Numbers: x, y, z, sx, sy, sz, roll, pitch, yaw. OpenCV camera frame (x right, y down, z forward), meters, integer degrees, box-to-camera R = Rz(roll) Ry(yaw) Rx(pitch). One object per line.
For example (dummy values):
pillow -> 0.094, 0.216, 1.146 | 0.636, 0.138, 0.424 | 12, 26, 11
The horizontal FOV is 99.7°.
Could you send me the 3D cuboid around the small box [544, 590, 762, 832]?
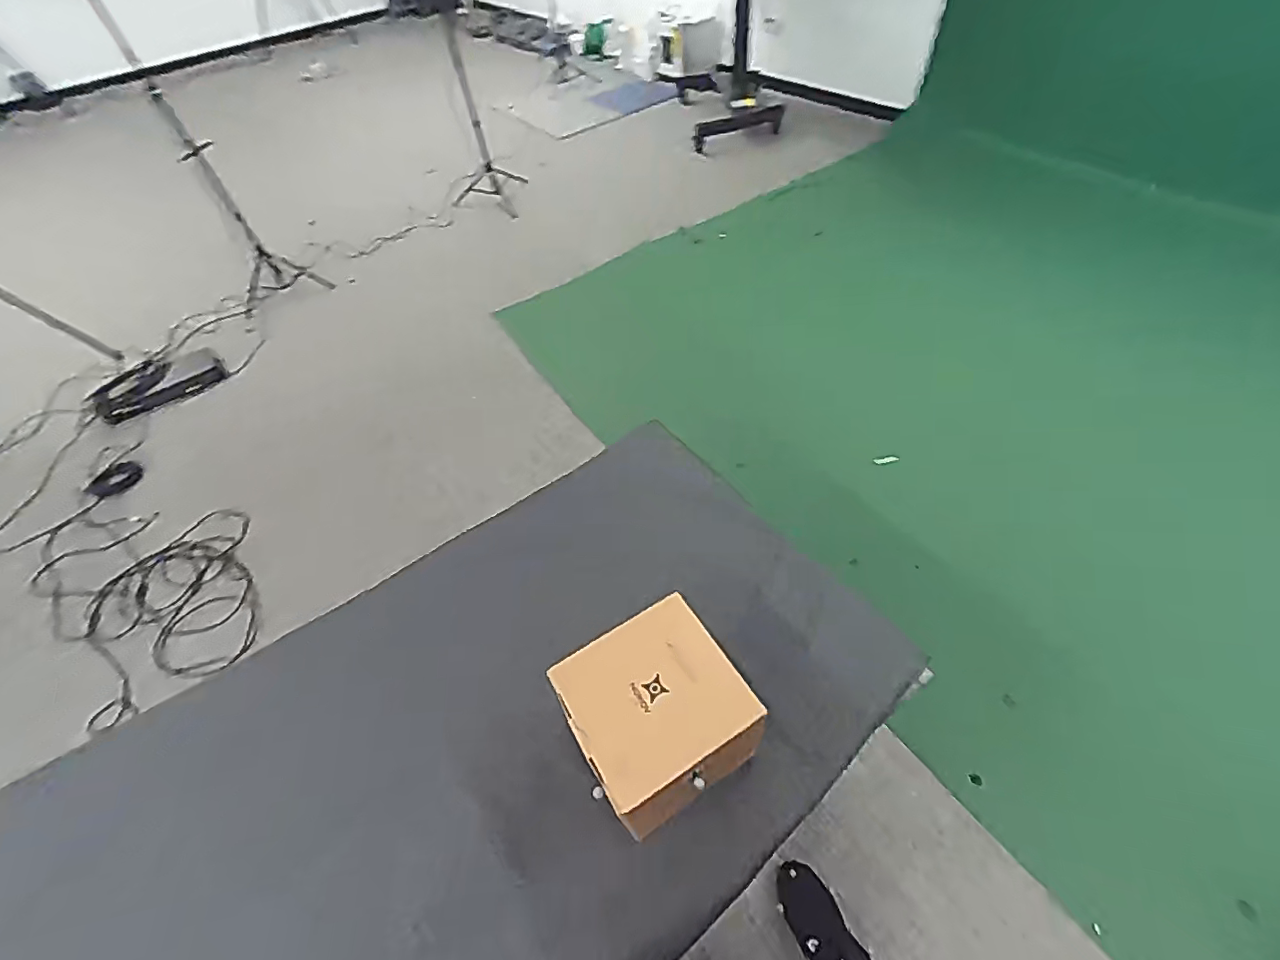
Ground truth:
small box -> 0.017, 0.266, 0.617 | 0.179, 0.176, 0.168 | -28, 54, -16
